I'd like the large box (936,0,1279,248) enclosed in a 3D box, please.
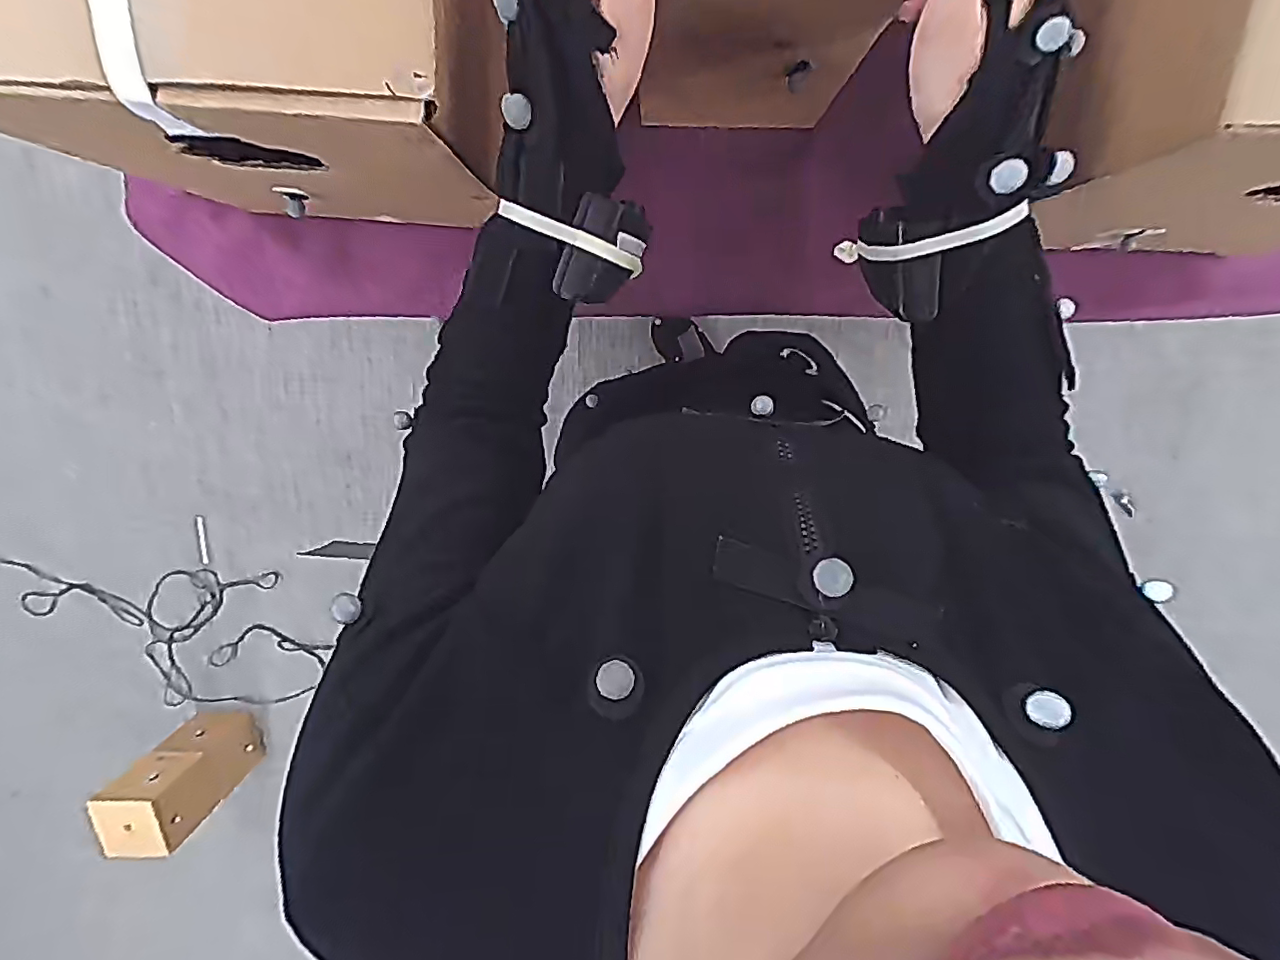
[{"bbox_3d":[0.450,-0.397,0.367,0.320,0.320,0.408,3,103,1],"label":"large box"}]

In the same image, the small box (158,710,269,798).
[{"bbox_3d":[-1.235,0.794,1.575,0.179,0.176,0.168,-4,106,3],"label":"small box"}]

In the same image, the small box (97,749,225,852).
[{"bbox_3d":[-1.242,0.833,1.417,0.168,0.176,0.179,-2,106,3],"label":"small box"}]
